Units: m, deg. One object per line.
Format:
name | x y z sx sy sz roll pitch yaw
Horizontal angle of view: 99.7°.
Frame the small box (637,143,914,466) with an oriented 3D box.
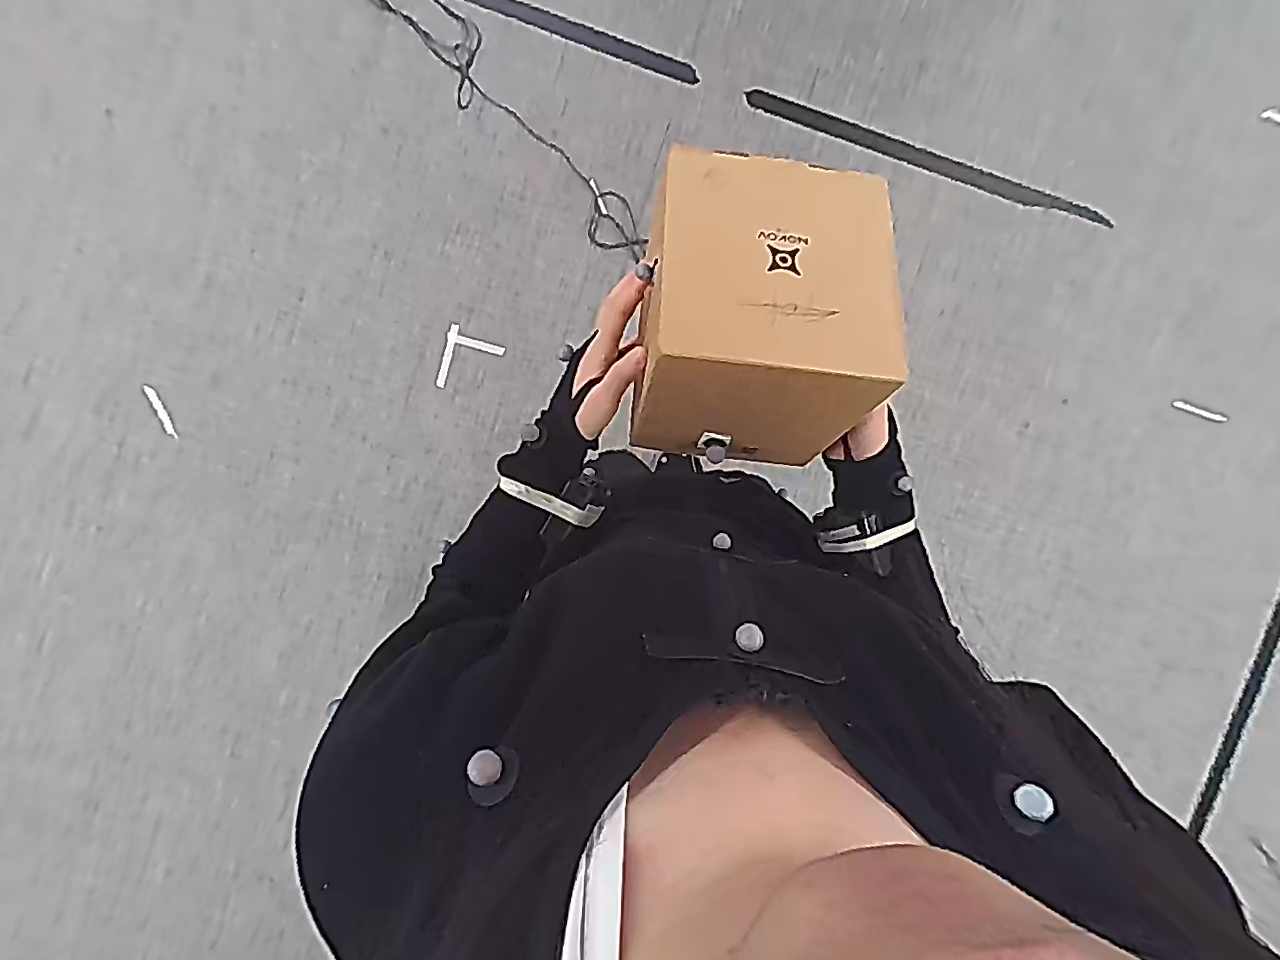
small box | 0.090 -0.127 0.441 0.168 0.176 0.179 5 72 -5
